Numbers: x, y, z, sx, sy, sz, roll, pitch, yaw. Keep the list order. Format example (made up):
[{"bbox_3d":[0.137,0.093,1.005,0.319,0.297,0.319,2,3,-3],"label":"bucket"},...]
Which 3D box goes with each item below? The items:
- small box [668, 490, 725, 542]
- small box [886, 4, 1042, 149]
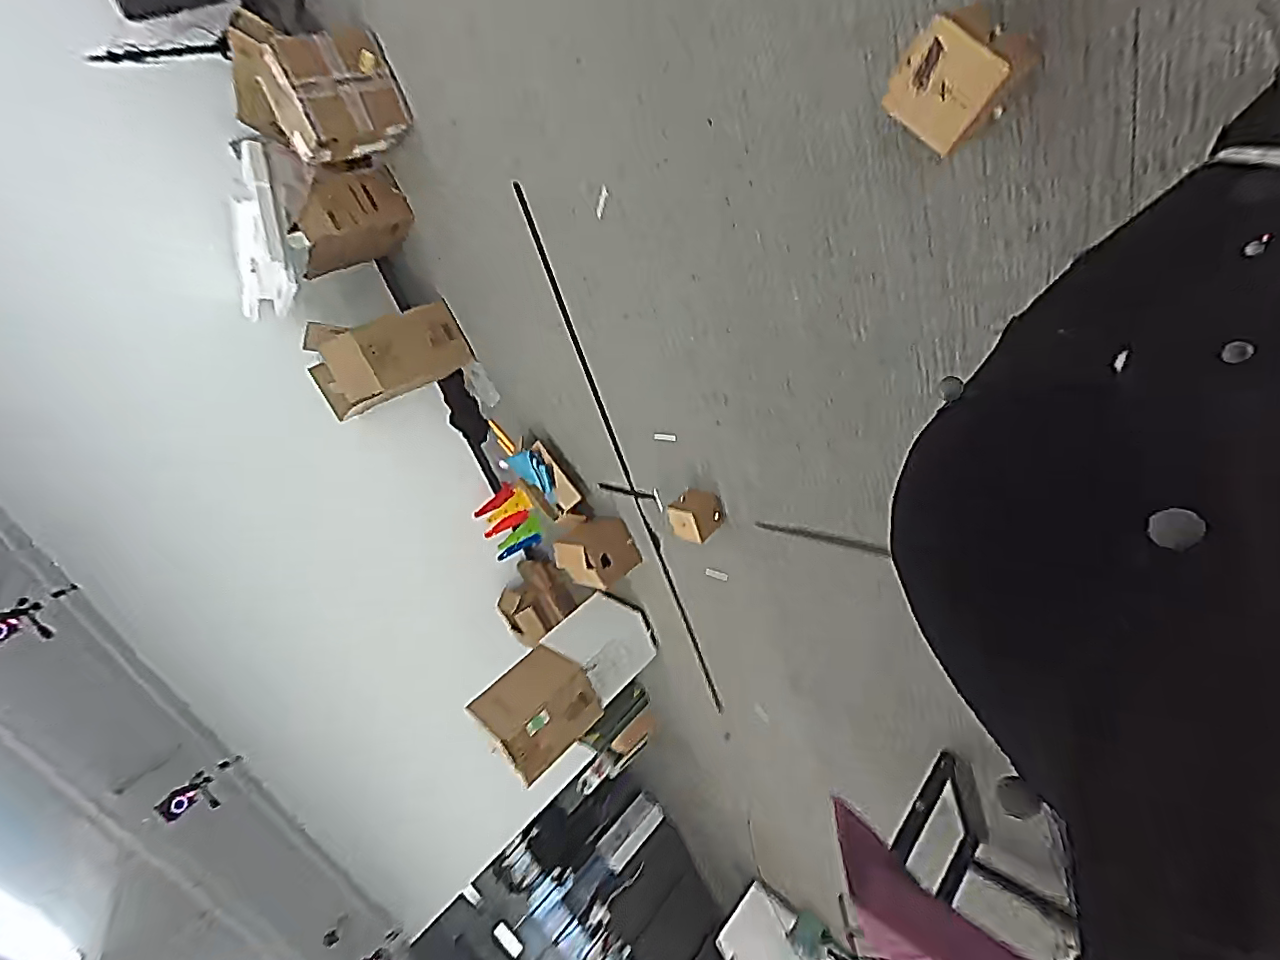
[{"bbox_3d":[0.265,0.163,2.522,0.179,0.176,0.168,9,128,49],"label":"small box"},{"bbox_3d":[0.638,-0.798,1.069,0.179,0.176,0.168,48,149,10],"label":"small box"}]
